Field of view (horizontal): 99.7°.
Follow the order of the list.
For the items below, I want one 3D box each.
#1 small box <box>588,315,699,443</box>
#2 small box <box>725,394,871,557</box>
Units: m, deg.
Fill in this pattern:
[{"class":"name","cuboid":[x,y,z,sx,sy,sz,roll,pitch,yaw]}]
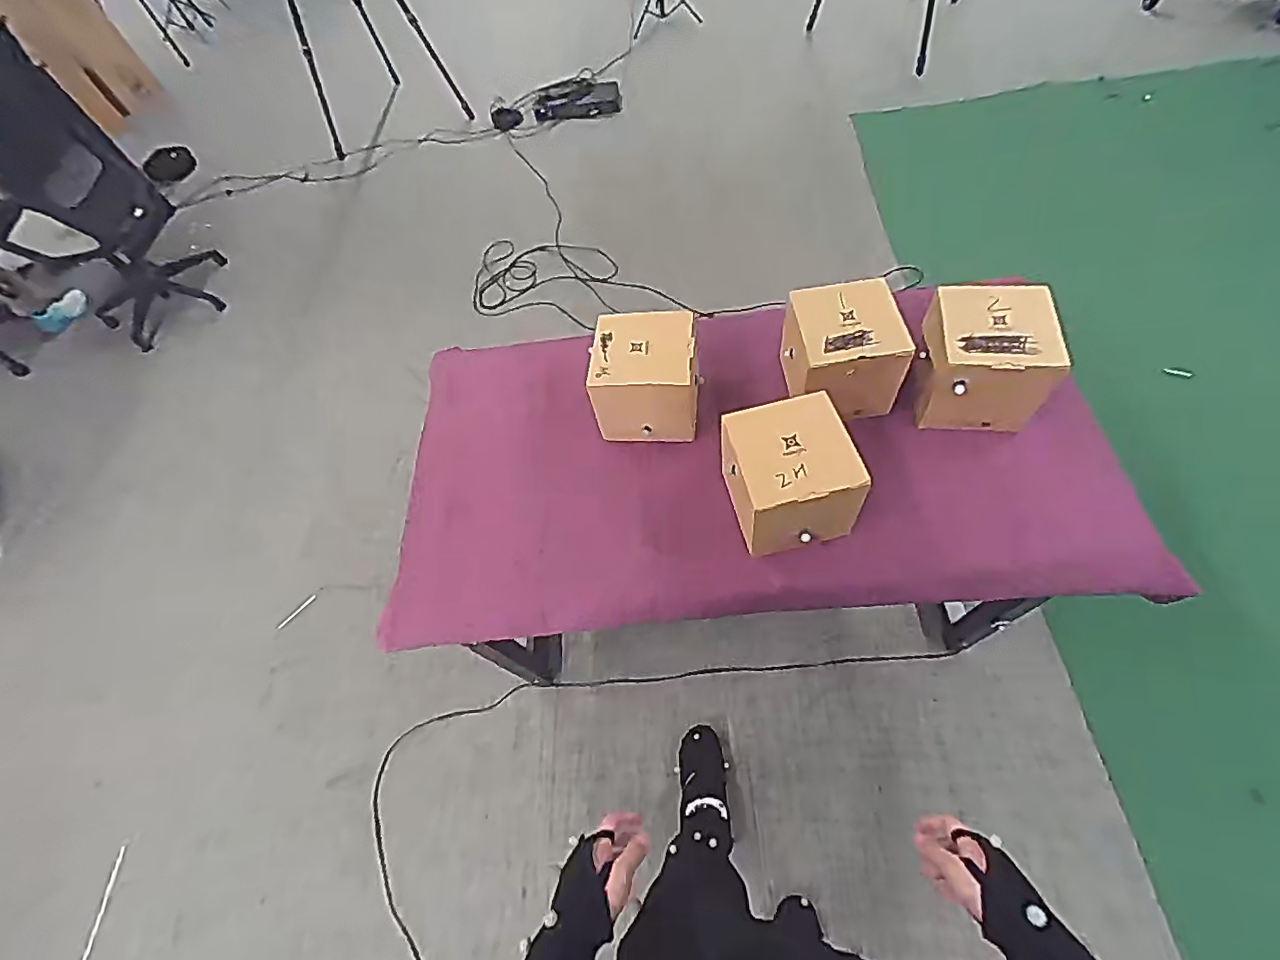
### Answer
[{"class":"small box","cuboid":[0.017,-0.180,0.990,0.179,0.176,0.168,2,61,9]},{"class":"small box","cuboid":[0.233,-0.003,0.851,0.168,0.176,0.179,-14,58,2]}]
